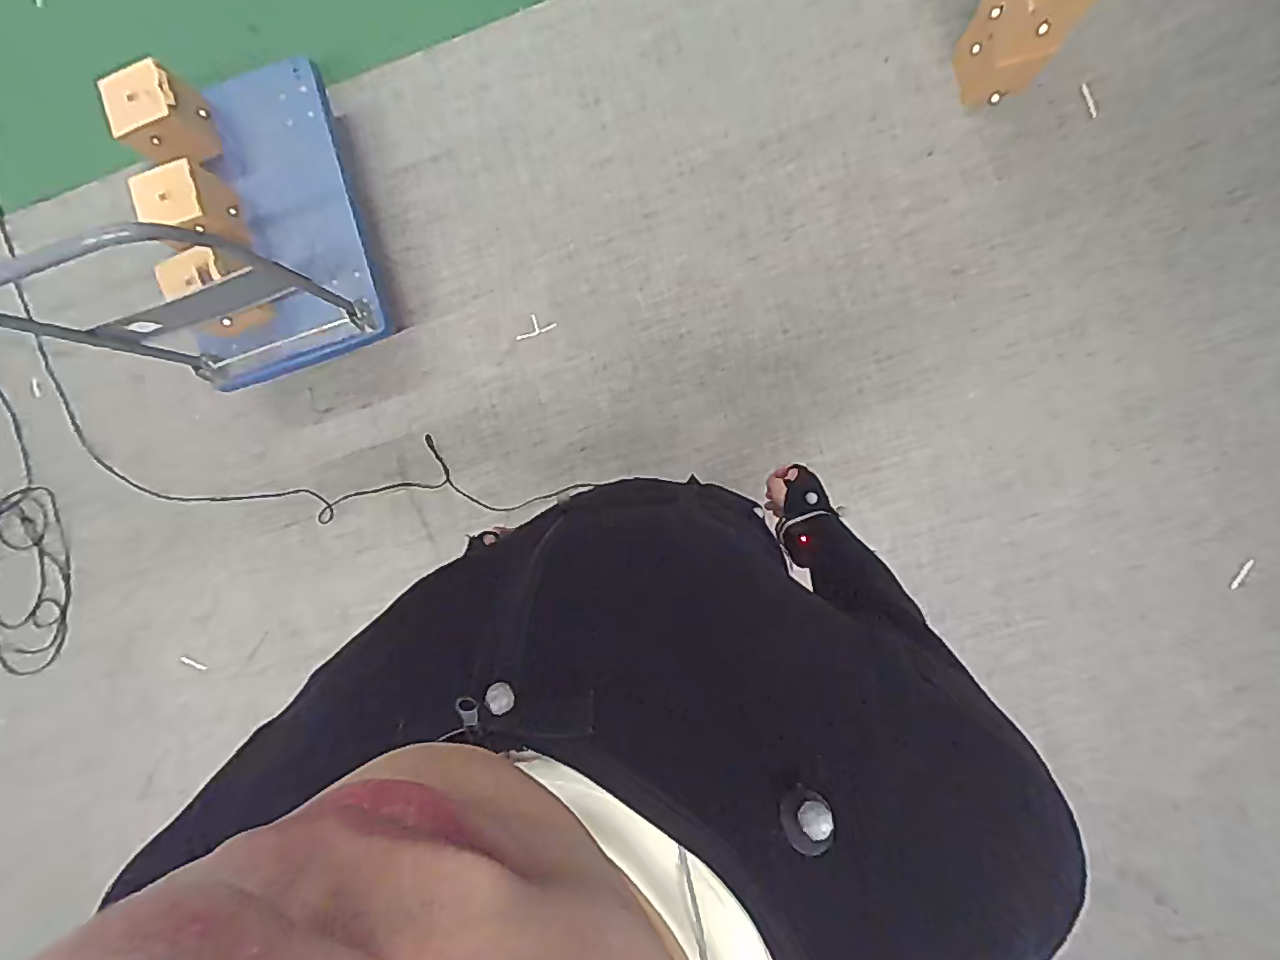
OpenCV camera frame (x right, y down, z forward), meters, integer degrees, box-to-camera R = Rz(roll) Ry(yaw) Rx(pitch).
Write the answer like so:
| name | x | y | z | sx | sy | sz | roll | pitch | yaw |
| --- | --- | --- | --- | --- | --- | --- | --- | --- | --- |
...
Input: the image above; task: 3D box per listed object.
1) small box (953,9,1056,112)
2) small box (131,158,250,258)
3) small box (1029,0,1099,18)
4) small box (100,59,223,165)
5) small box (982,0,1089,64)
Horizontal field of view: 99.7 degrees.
| name | x | y | z | sx | sy | sz | roll | pitch | yaw |
| --- | --- | --- | --- | --- | --- | --- | --- | --- | --- |
| small box | 1.009 | -1.185 | 1.512 | 0.168 | 0.176 | 0.179 | -12 | 88 | 5 |
| small box | -1.248 | -0.749 | 1.510 | 0.179 | 0.176 | 0.168 | -17 | 88 | 3 |
| small box | 0.986 | -1.188 | 1.202 | 0.179 | 0.176 | 0.168 | -14 | 88 | 5 |
| small box | -1.334 | -1.016 | 1.517 | 0.179 | 0.176 | 0.168 | -18 | 89 | 4 |
| small box | 0.989 | -1.192 | 1.350 | 0.179 | 0.176 | 0.168 | -13 | 88 | 6 |
